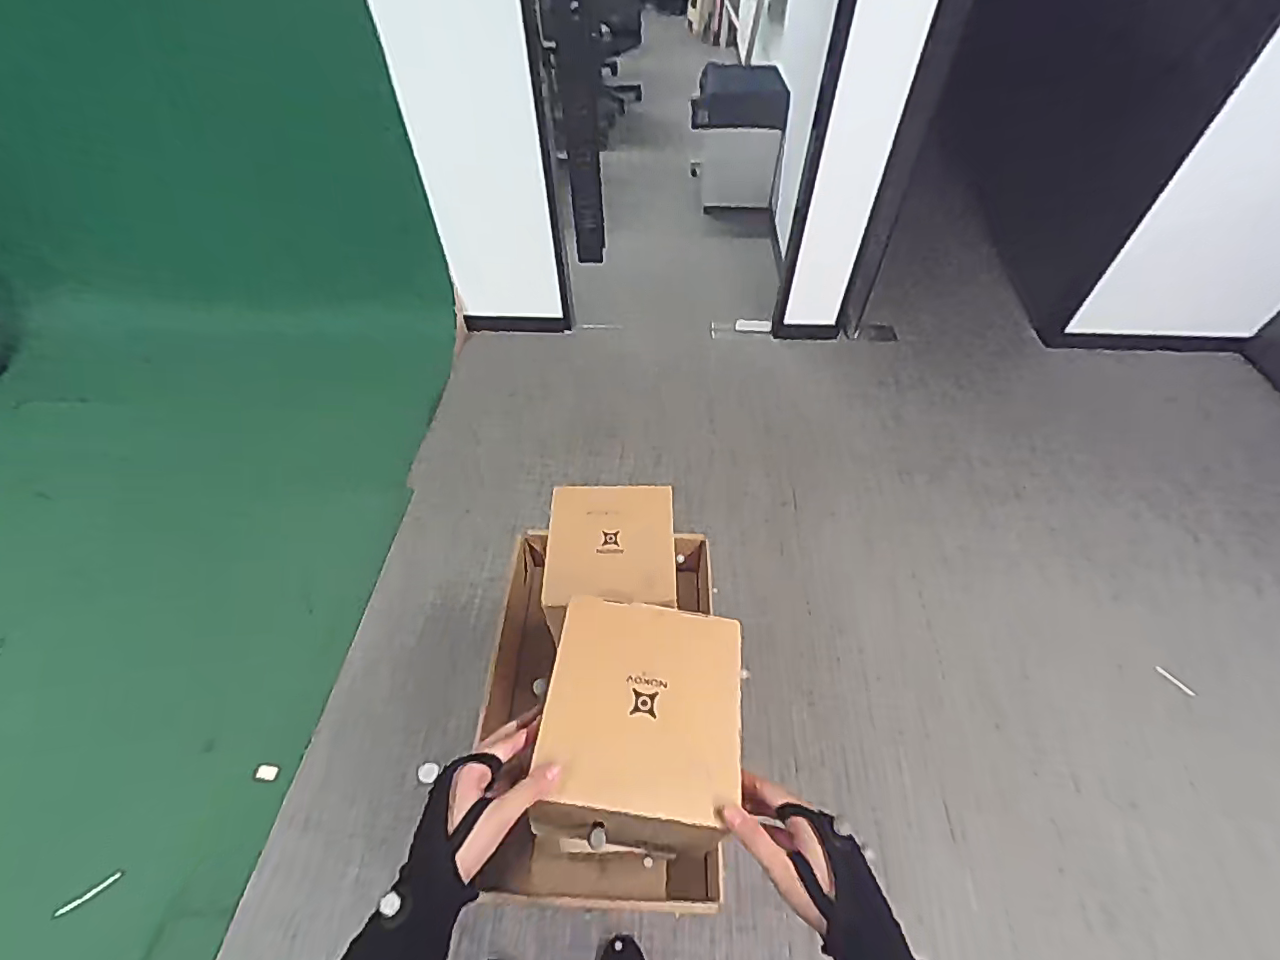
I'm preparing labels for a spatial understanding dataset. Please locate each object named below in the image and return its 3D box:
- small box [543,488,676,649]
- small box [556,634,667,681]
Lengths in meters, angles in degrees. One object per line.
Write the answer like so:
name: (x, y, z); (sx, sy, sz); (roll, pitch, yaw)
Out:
small box: (-0.035, 0.129, 0.762); (0.168, 0.176, 0.179); (1, 54, 0)
small box: (-0.041, 0.225, 0.894); (0.168, 0.176, 0.179); (-2, 53, -1)
